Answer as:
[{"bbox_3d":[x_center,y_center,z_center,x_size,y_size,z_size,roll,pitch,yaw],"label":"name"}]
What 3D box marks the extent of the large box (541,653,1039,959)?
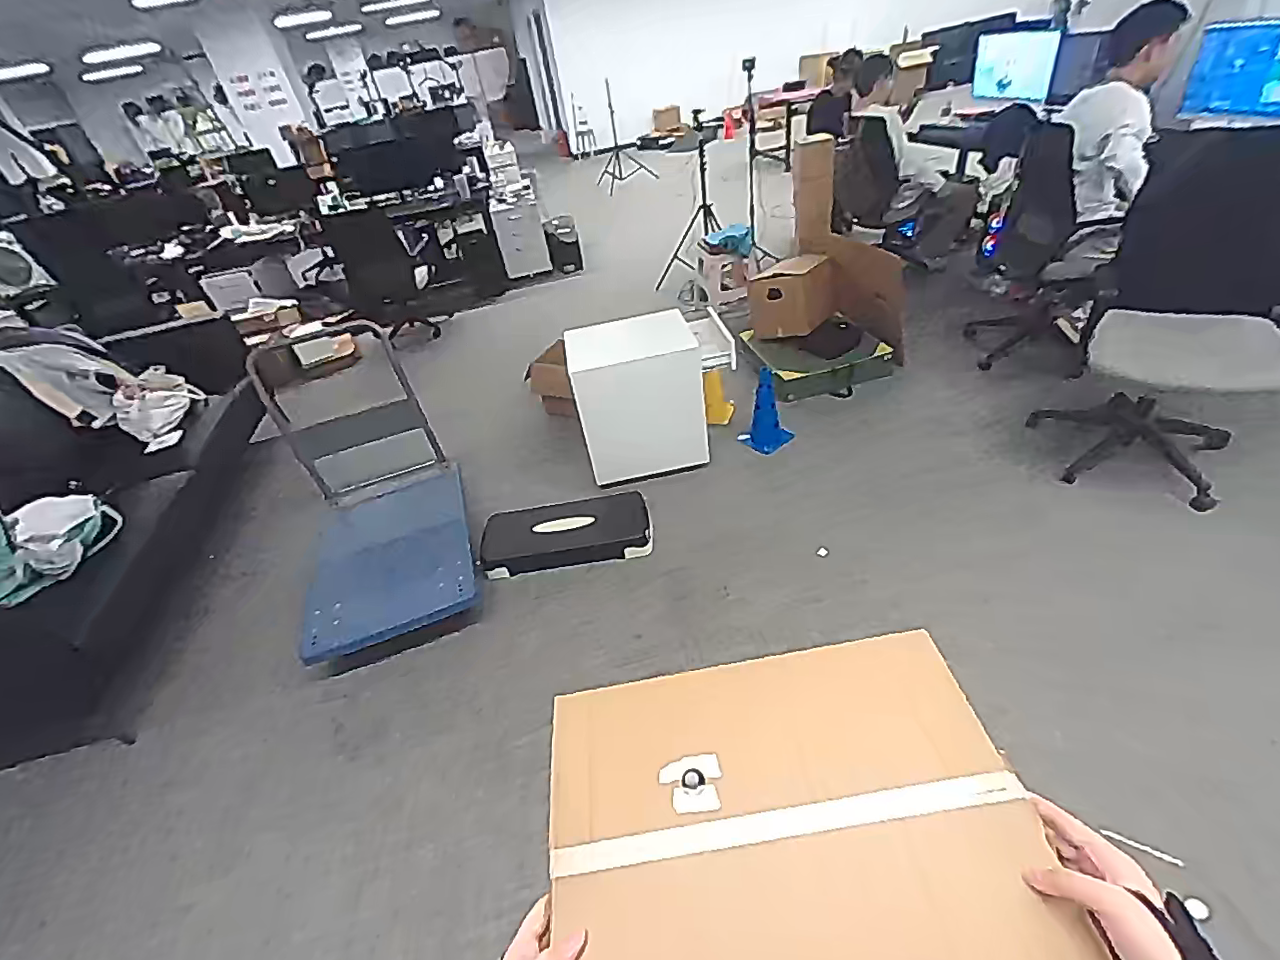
[{"bbox_3d":[0.146,0.396,0.603,0.408,0.320,0.320,-7,56,14],"label":"large box"}]
